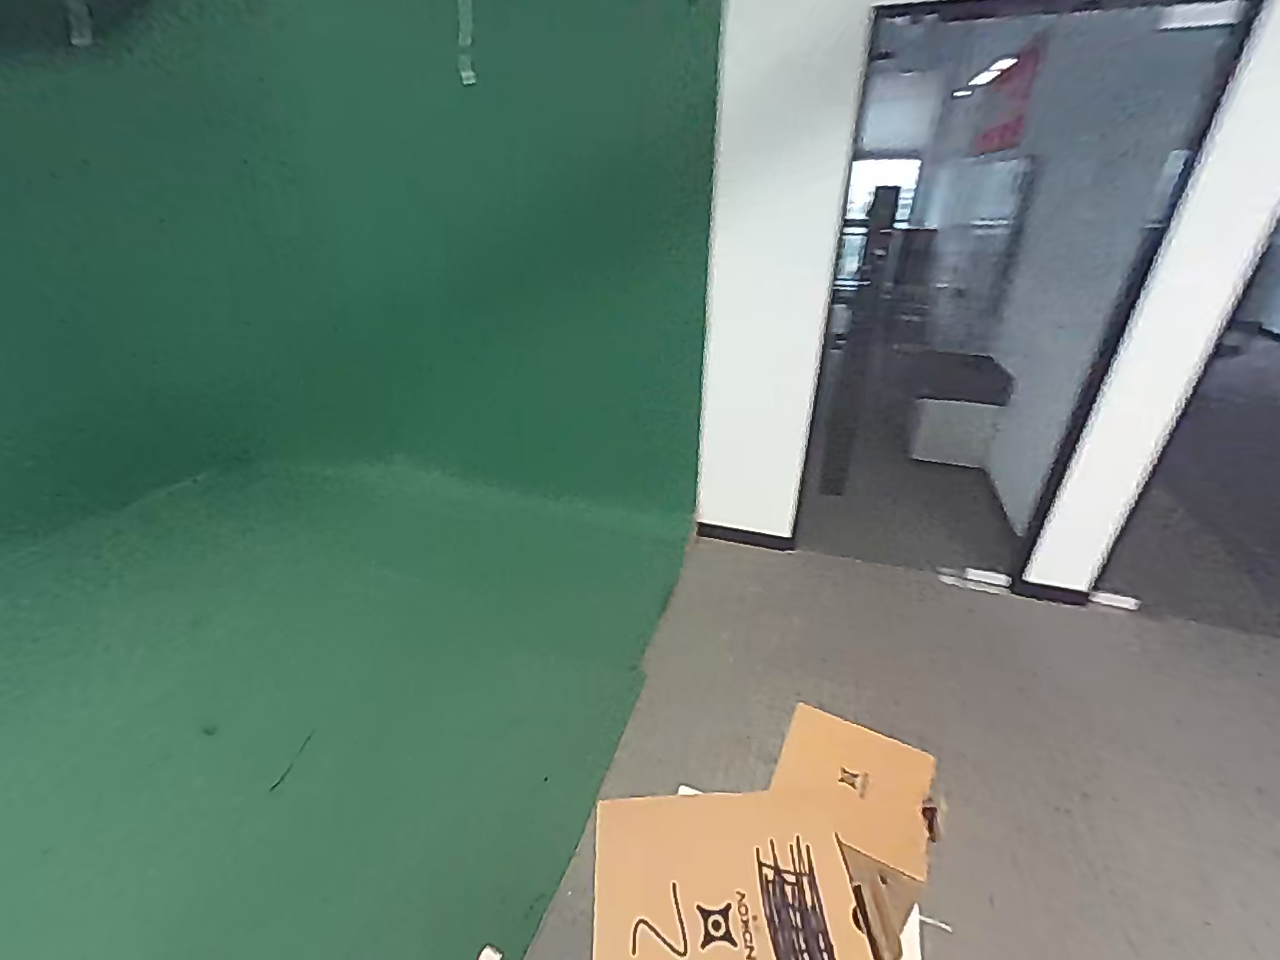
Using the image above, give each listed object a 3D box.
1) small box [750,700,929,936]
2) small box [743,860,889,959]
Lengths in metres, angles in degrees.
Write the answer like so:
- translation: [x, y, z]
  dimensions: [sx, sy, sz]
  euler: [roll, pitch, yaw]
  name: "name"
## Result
- translation: [0.253, 0.432, 0.701]
  dimensions: [0.179, 0.176, 0.168]
  euler: [15, 32, 24]
  name: "small box"
- translation: [0.258, 0.574, 0.780]
  dimensions: [0.179, 0.176, 0.168]
  euler: [15, 32, 25]
  name: "small box"
